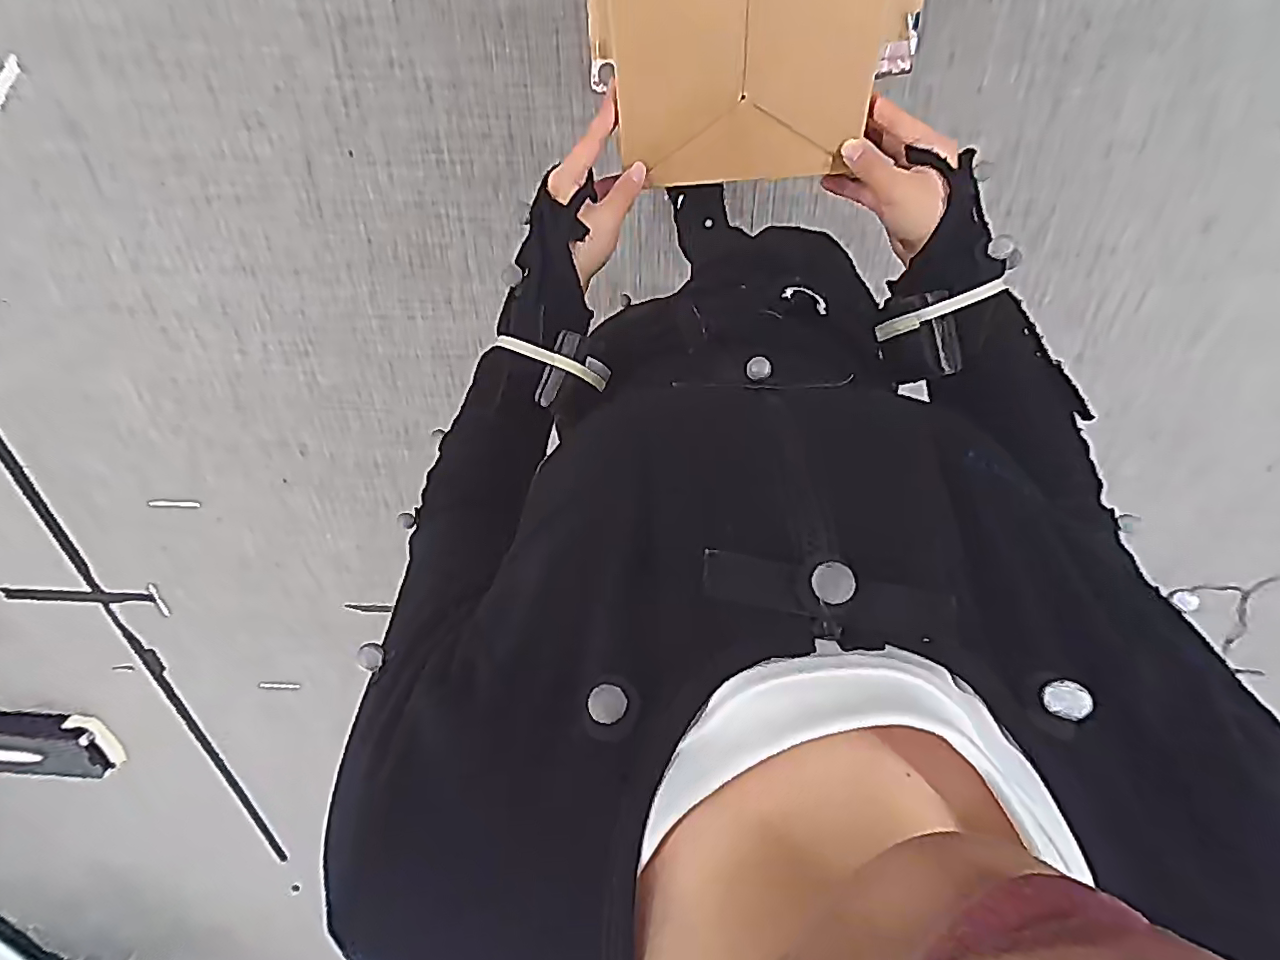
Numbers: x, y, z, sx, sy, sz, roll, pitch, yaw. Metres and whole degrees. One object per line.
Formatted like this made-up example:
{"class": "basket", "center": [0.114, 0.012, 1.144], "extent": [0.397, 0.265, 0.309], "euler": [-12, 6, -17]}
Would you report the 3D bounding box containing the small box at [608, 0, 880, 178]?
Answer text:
{"class": "small box", "center": [0.066, -0.346, 0.412], "extent": [0.179, 0.176, 0.168], "euler": [-3, 134, 3]}
